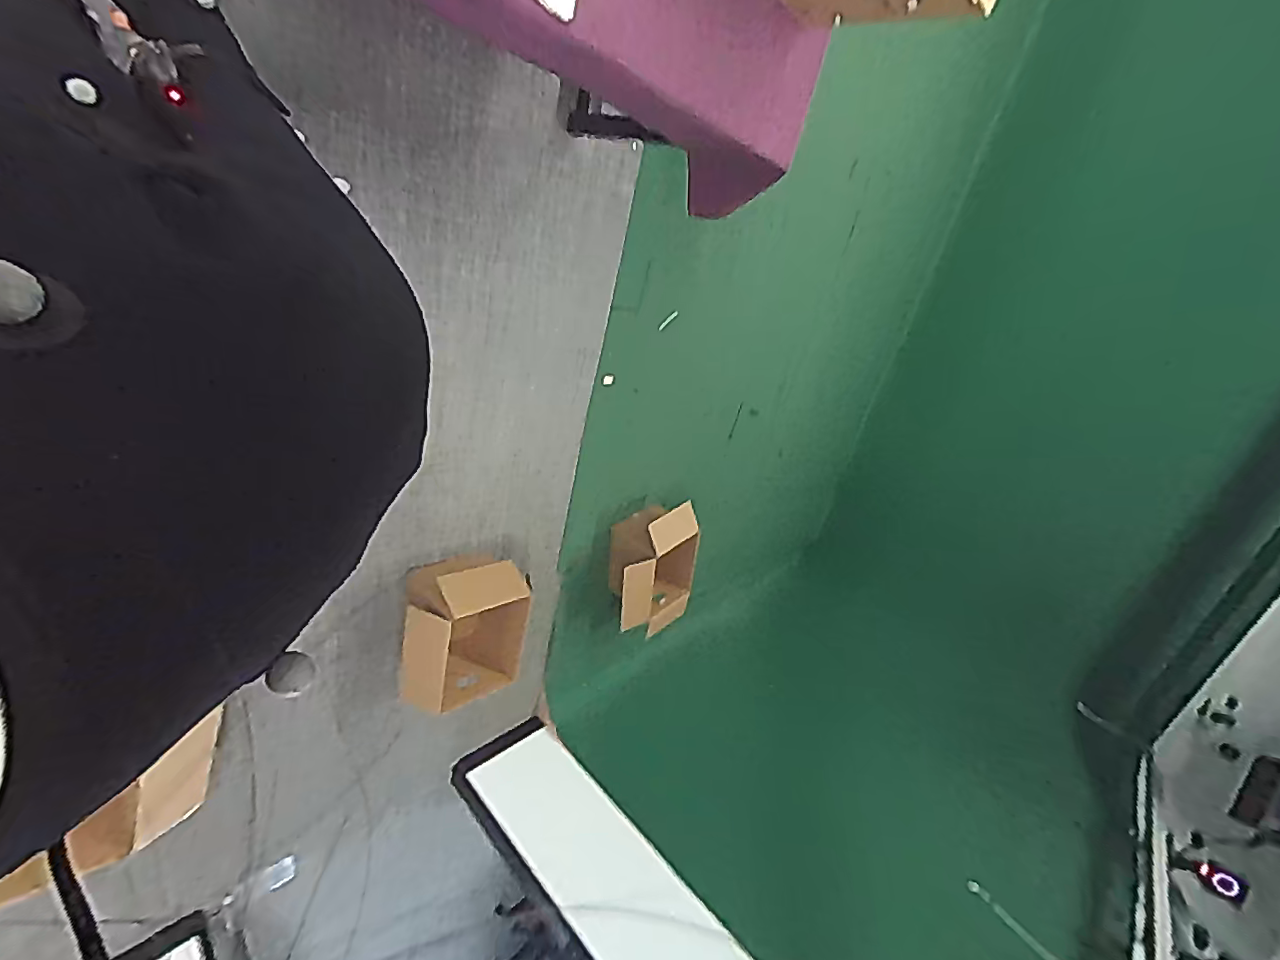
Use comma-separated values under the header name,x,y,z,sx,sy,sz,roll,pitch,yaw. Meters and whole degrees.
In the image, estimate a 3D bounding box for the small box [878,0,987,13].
name,x,y,z,sx,sy,sz,roll,pitch,yaw
small box,0.453,-0.843,0.811,0.168,0.176,0.179,-12,125,-48

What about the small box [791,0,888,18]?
name,x,y,z,sx,sy,sz,roll,pitch,yaw
small box,0.342,-0.917,0.907,0.168,0.176,0.179,-11,124,-47
